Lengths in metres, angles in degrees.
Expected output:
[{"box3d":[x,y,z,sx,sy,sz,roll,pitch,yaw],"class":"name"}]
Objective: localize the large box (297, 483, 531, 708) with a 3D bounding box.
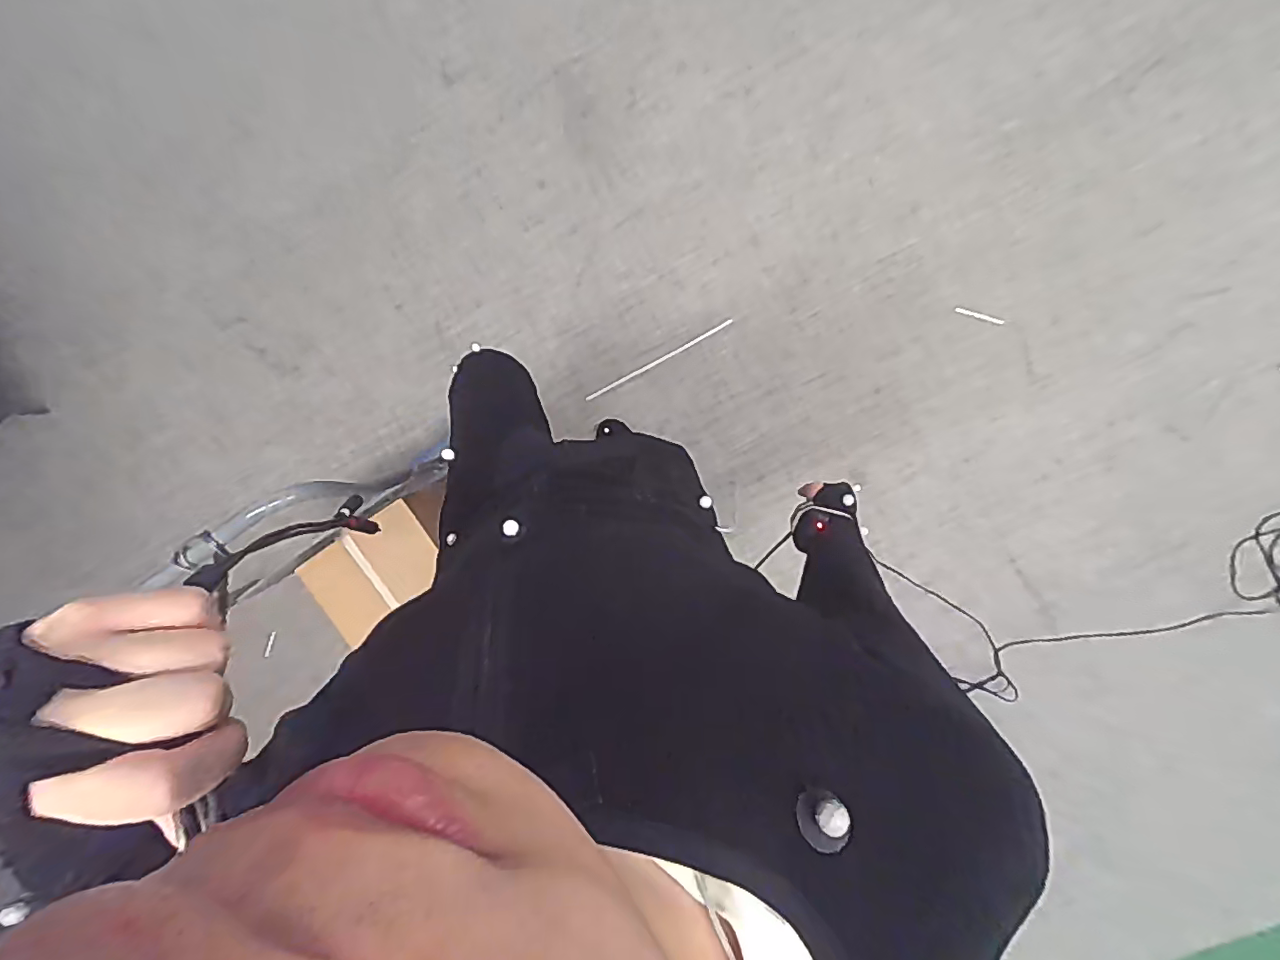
[{"box3d":[-0.536,0.267,1.365,0.320,0.320,0.408,-32,96,6],"class":"large box"}]
